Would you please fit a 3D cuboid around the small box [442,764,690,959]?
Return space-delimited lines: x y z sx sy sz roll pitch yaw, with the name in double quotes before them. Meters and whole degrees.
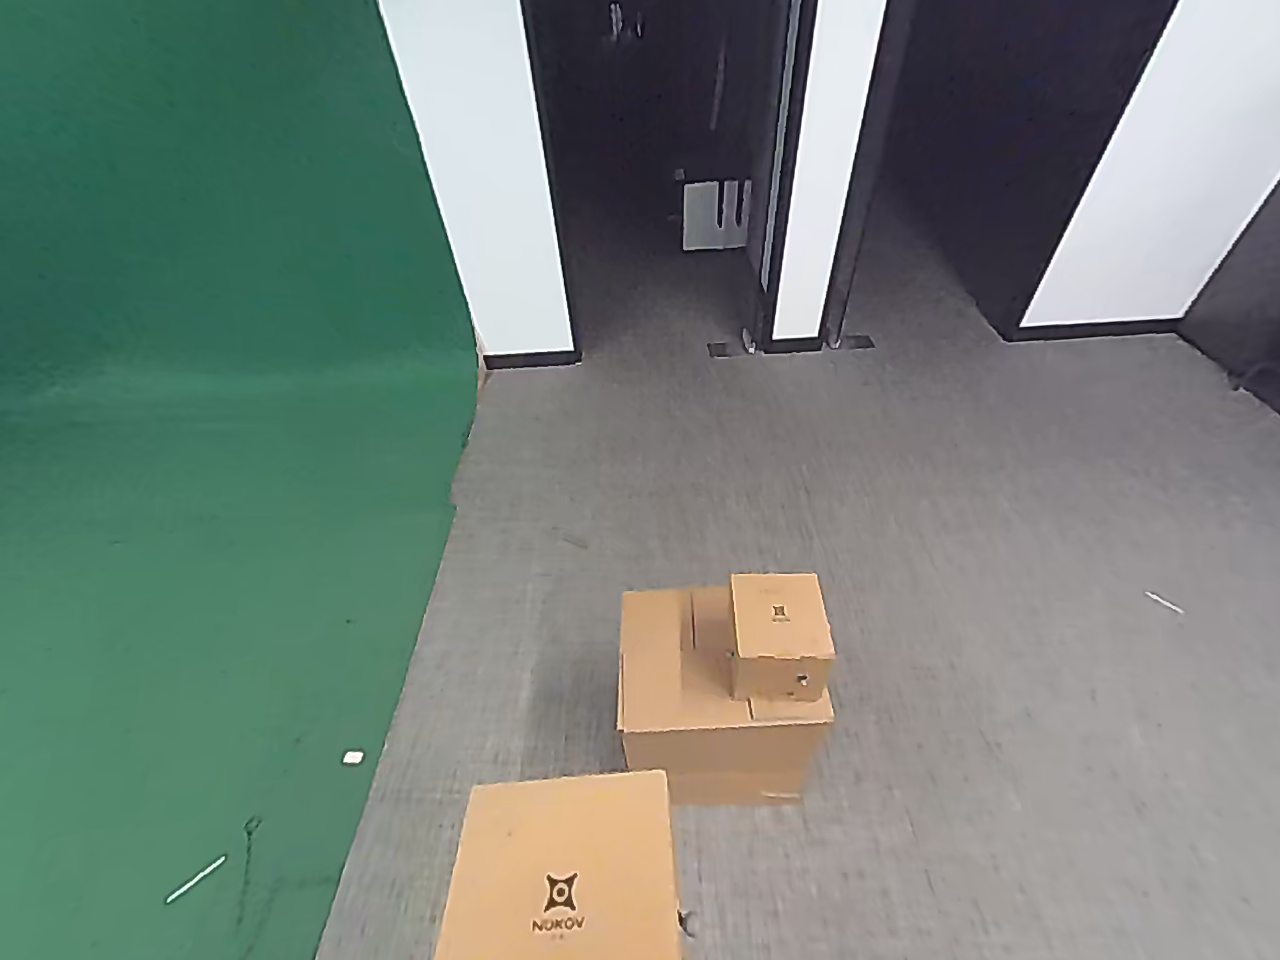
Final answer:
"small box" -0.045 0.361 0.431 0.168 0.176 0.179 -6 33 1

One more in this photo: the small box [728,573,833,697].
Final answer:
"small box" 0.258 0.299 1.034 0.168 0.176 0.179 -1 44 4
